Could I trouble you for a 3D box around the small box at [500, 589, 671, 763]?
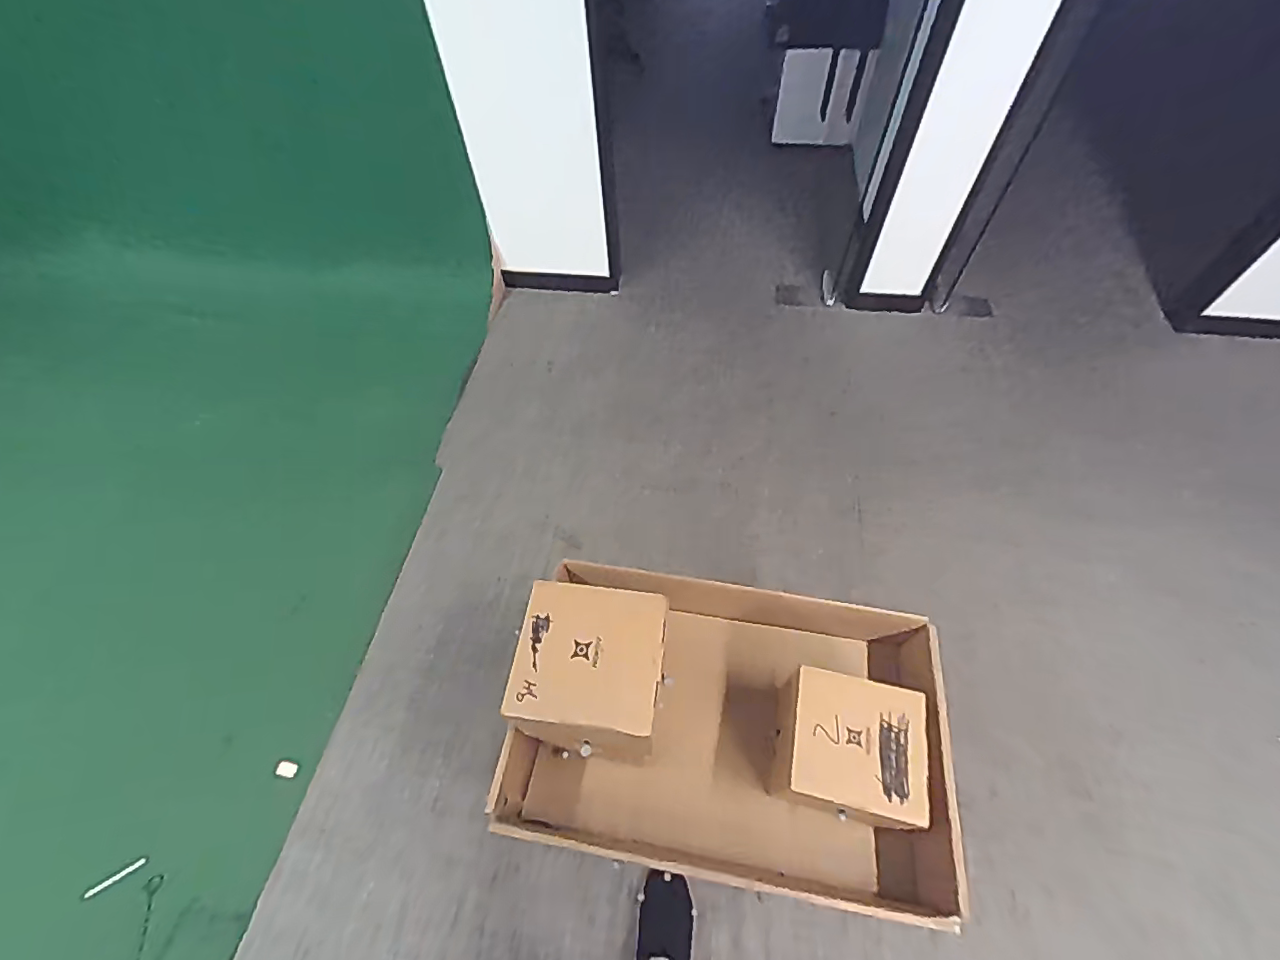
[{"bbox_3d":[-0.057,0.261,0.706,0.179,0.176,0.168,6,56,6],"label":"small box"}]
